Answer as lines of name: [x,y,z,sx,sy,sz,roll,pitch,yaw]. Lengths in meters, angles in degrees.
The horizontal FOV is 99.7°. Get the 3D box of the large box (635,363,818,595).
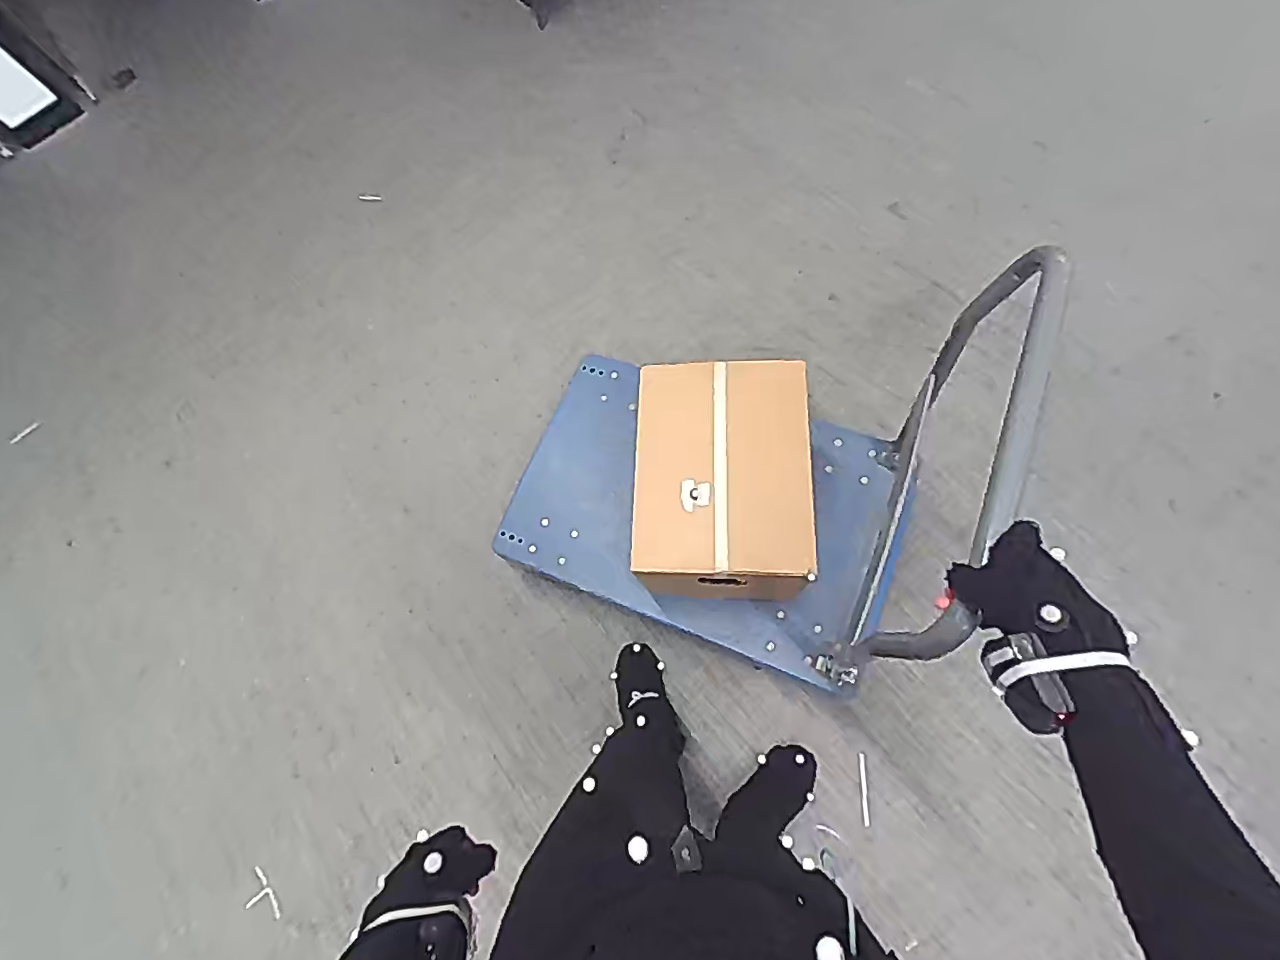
large box: [0.167,0.014,1.112,0.320,0.320,0.408,0,72,8]
